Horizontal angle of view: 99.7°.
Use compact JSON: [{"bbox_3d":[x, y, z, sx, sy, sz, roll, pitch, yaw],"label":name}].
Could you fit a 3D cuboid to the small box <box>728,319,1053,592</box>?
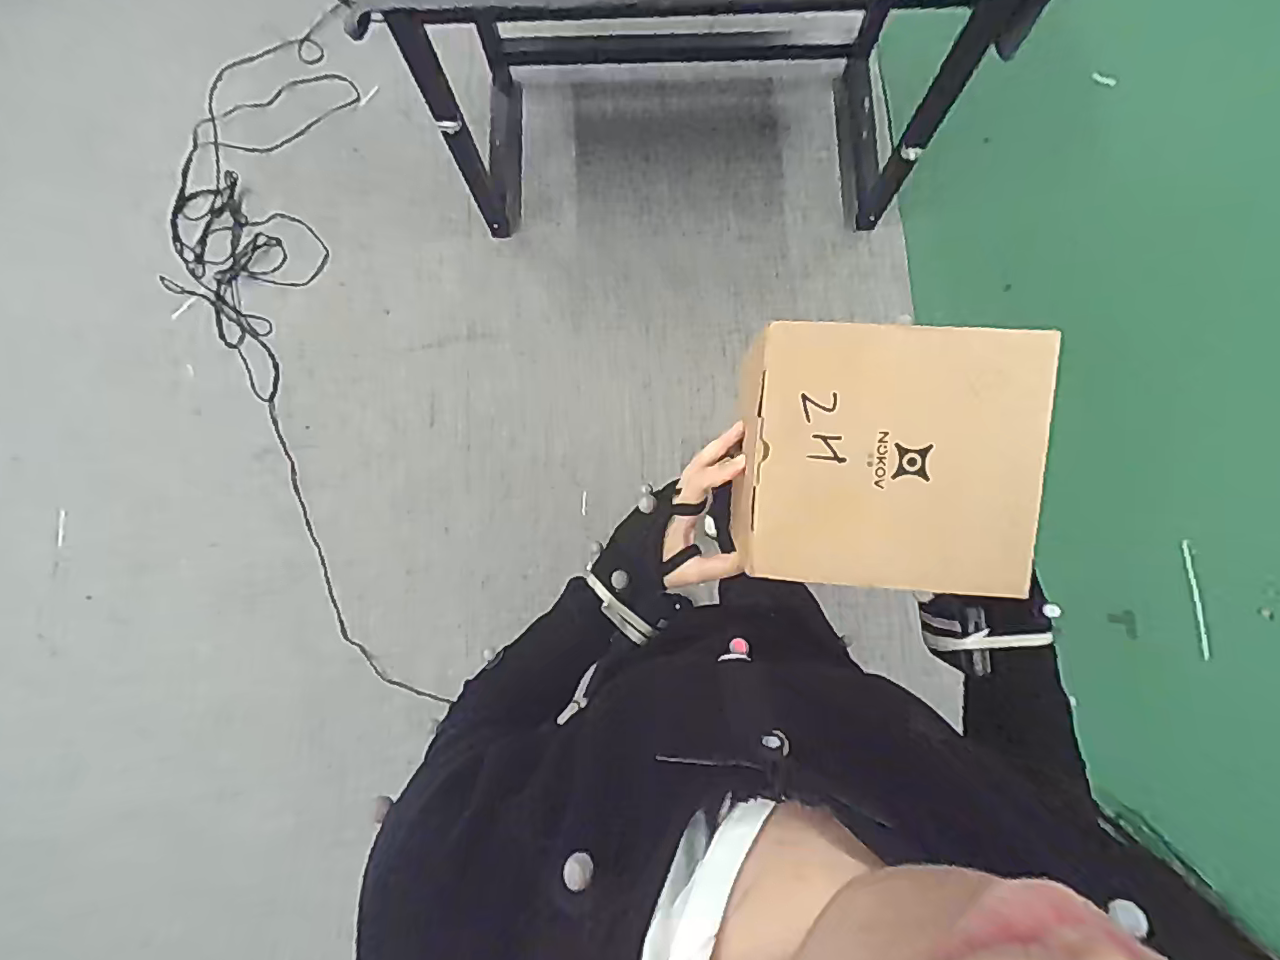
[{"bbox_3d":[0.168,-0.021,0.423,0.179,0.176,0.168,4,94,5],"label":"small box"}]
